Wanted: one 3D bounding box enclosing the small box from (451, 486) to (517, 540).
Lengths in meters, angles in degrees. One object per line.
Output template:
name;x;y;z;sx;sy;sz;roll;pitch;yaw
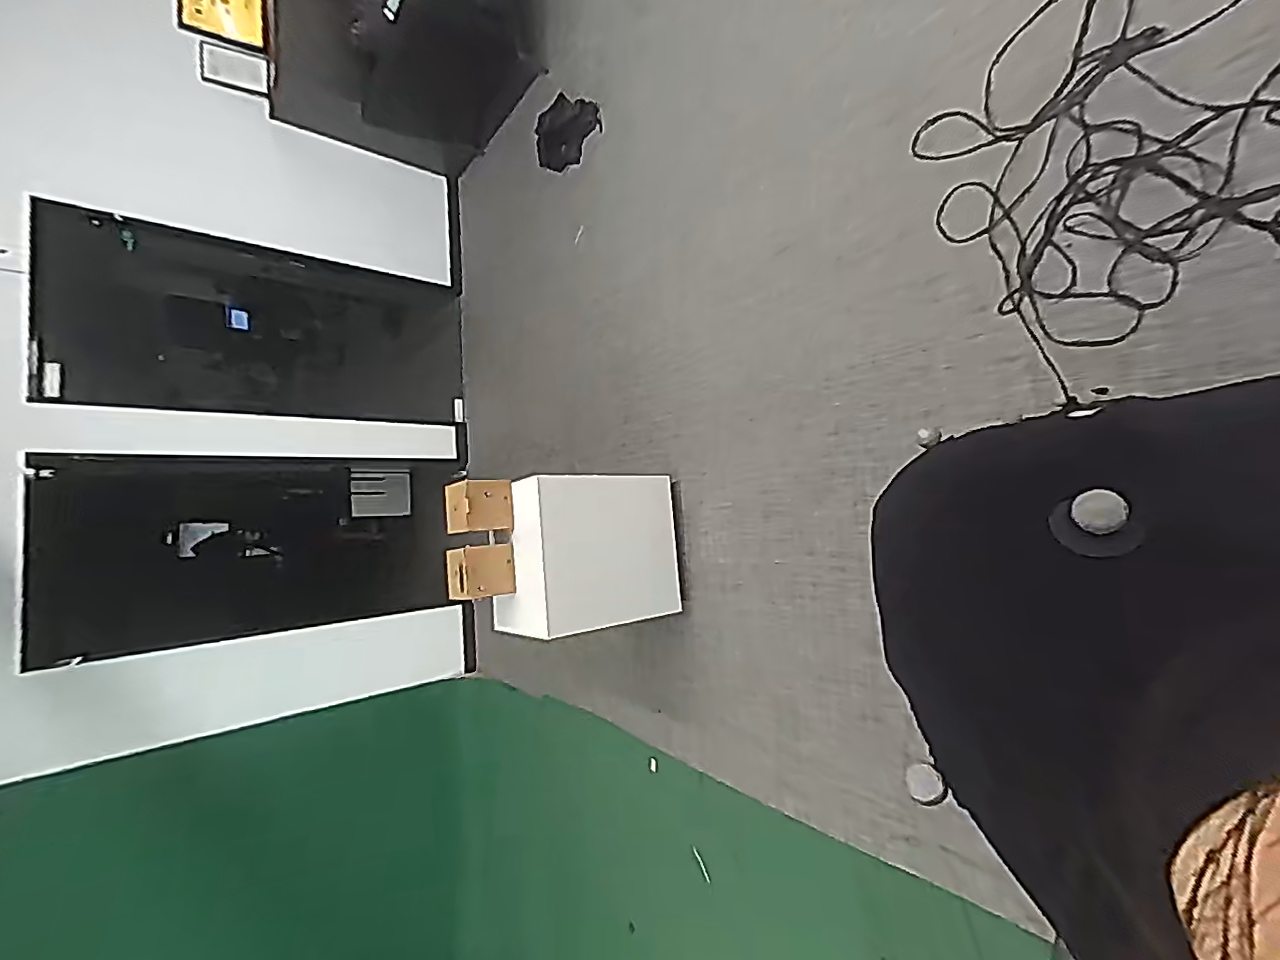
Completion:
small box;-0.524;0.110;1.829;0.179;0.176;0.168;-13;80;51
